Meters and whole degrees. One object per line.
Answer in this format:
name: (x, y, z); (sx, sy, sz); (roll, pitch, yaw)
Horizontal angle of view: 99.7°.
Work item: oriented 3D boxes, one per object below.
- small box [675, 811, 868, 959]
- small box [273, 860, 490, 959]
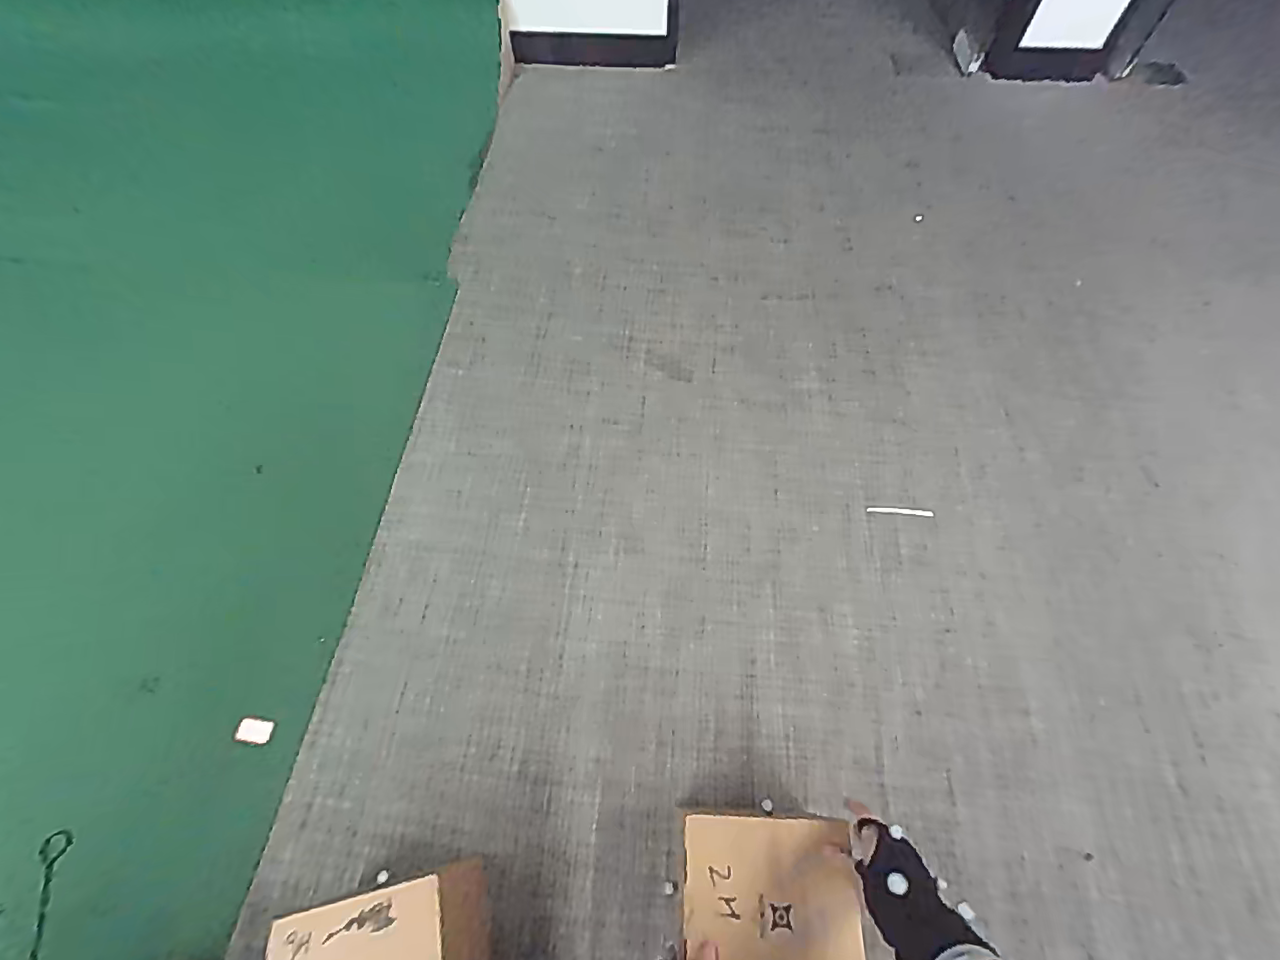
small box: (0.133, 0.471, 0.600); (0.179, 0.176, 0.168); (2, 61, 2)
small box: (-0.259, 0.535, 0.571); (0.168, 0.176, 0.179); (-12, 62, -6)
